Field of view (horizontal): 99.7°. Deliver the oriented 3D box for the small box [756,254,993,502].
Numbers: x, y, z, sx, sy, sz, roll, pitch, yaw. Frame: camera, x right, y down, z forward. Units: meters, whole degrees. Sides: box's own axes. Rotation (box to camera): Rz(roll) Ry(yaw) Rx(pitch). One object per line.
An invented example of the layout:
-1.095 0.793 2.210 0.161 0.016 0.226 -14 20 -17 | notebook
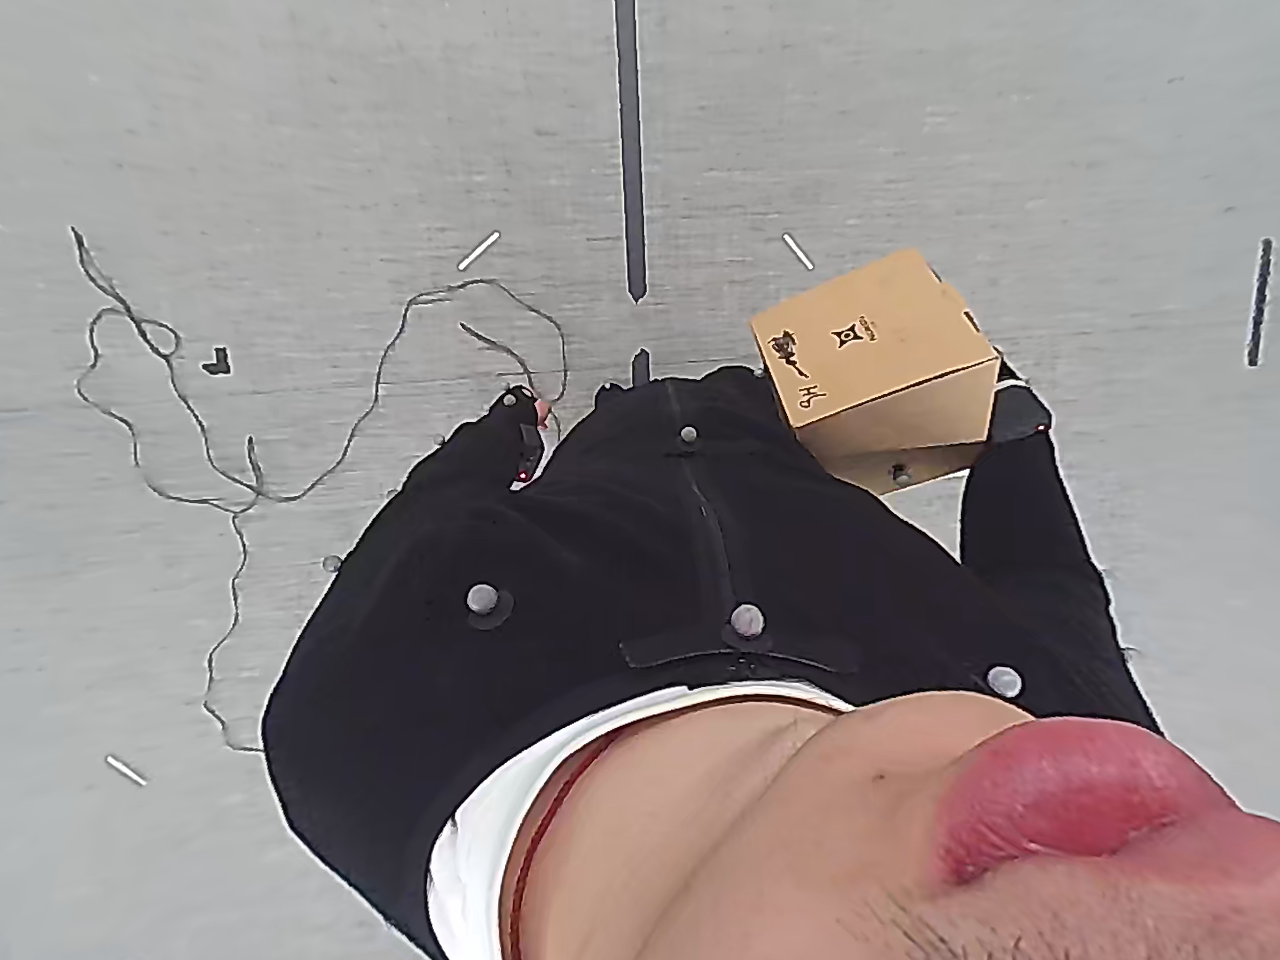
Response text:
0.245 -0.101 0.591 0.179 0.168 0.176 -19 141 14 | small box
